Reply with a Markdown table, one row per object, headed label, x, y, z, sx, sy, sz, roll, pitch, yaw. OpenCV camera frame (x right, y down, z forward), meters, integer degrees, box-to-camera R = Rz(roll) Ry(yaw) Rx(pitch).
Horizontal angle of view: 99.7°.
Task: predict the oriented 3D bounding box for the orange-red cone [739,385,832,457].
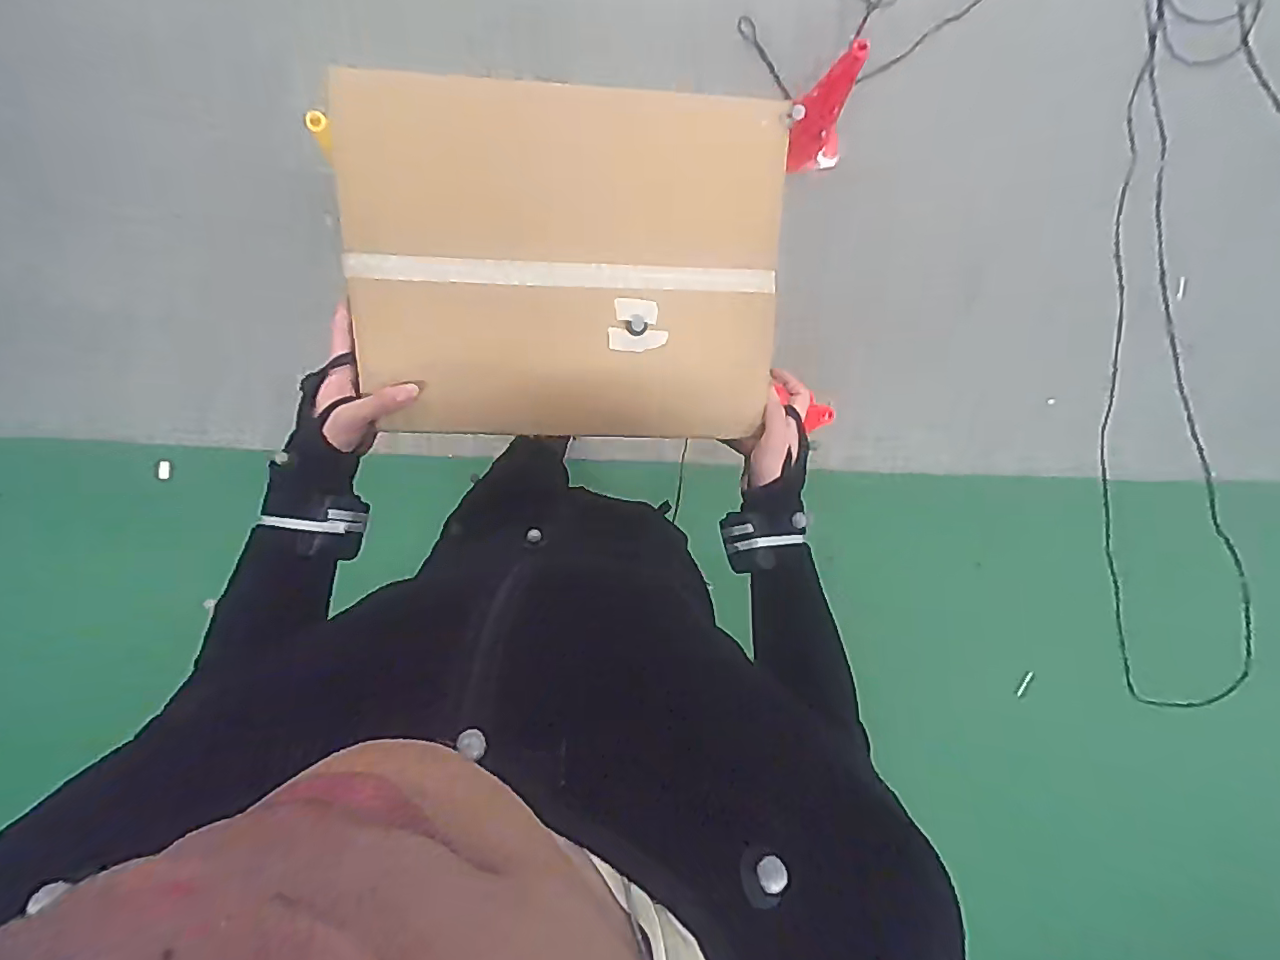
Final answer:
| label | x | y | z | sx | sy | sz | roll | pitch | yaw |
| --- | --- | --- | --- | --- | --- | --- | --- | --- | --- |
| orange-red cone | 0.427 | -0.163 | 1.466 | 0.199 | 0.360 | 0.198 | 10 | 95 | -7 |

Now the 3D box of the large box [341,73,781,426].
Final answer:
| label | x | y | z | sx | sy | sz | roll | pitch | yaw |
| --- | --- | --- | --- | --- | --- | --- | --- | --- | --- |
| large box | -0.082 | -0.242 | 0.667 | 0.408 | 0.320 | 0.320 | 0 | 105 | -6 |
